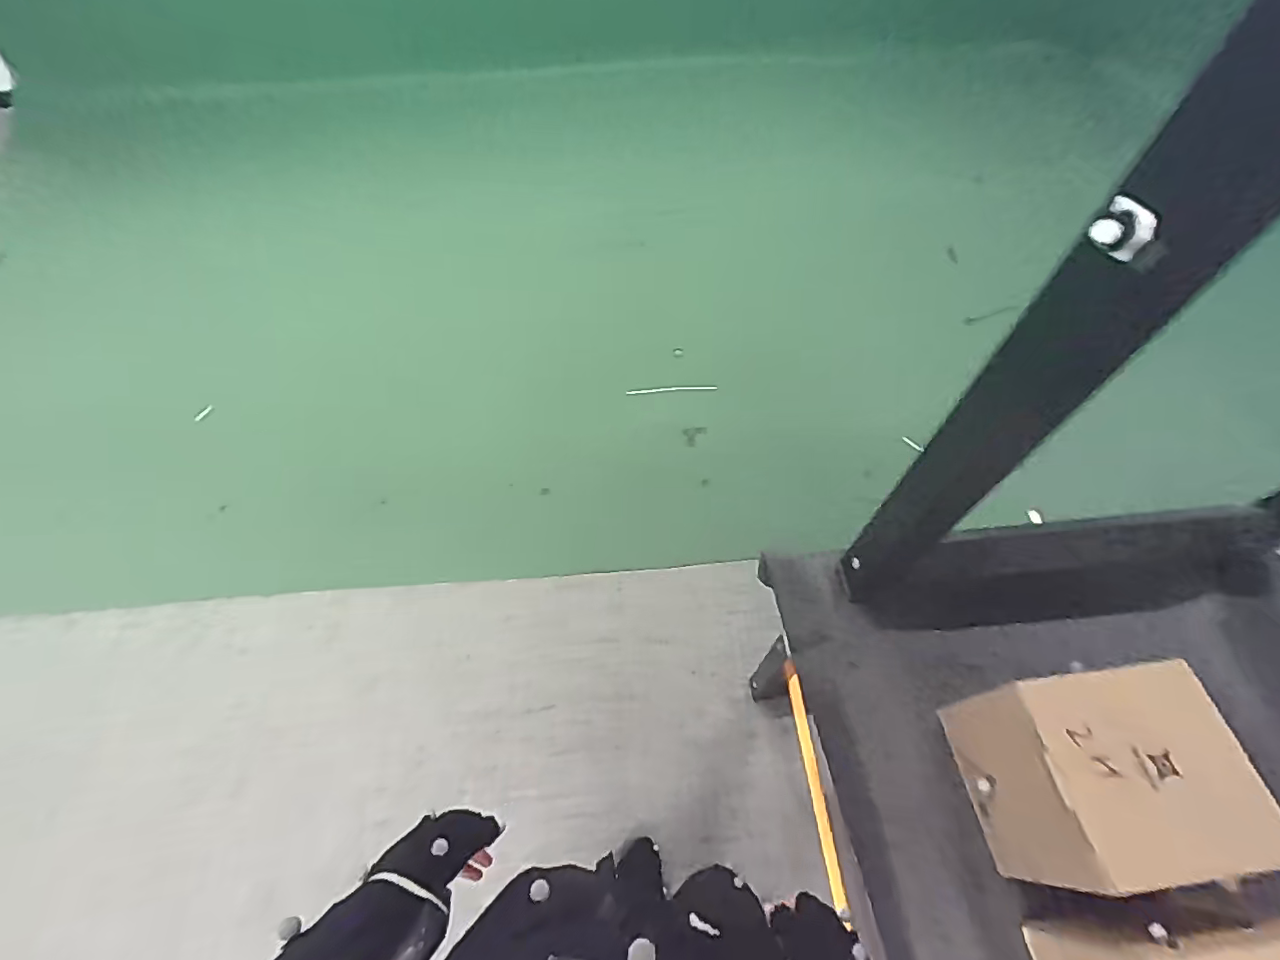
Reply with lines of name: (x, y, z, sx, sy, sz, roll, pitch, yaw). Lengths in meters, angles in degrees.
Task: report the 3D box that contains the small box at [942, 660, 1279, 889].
small box: (0.453, 0.293, 0.547, 0.179, 0.176, 0.168, -7, 58, -3)
